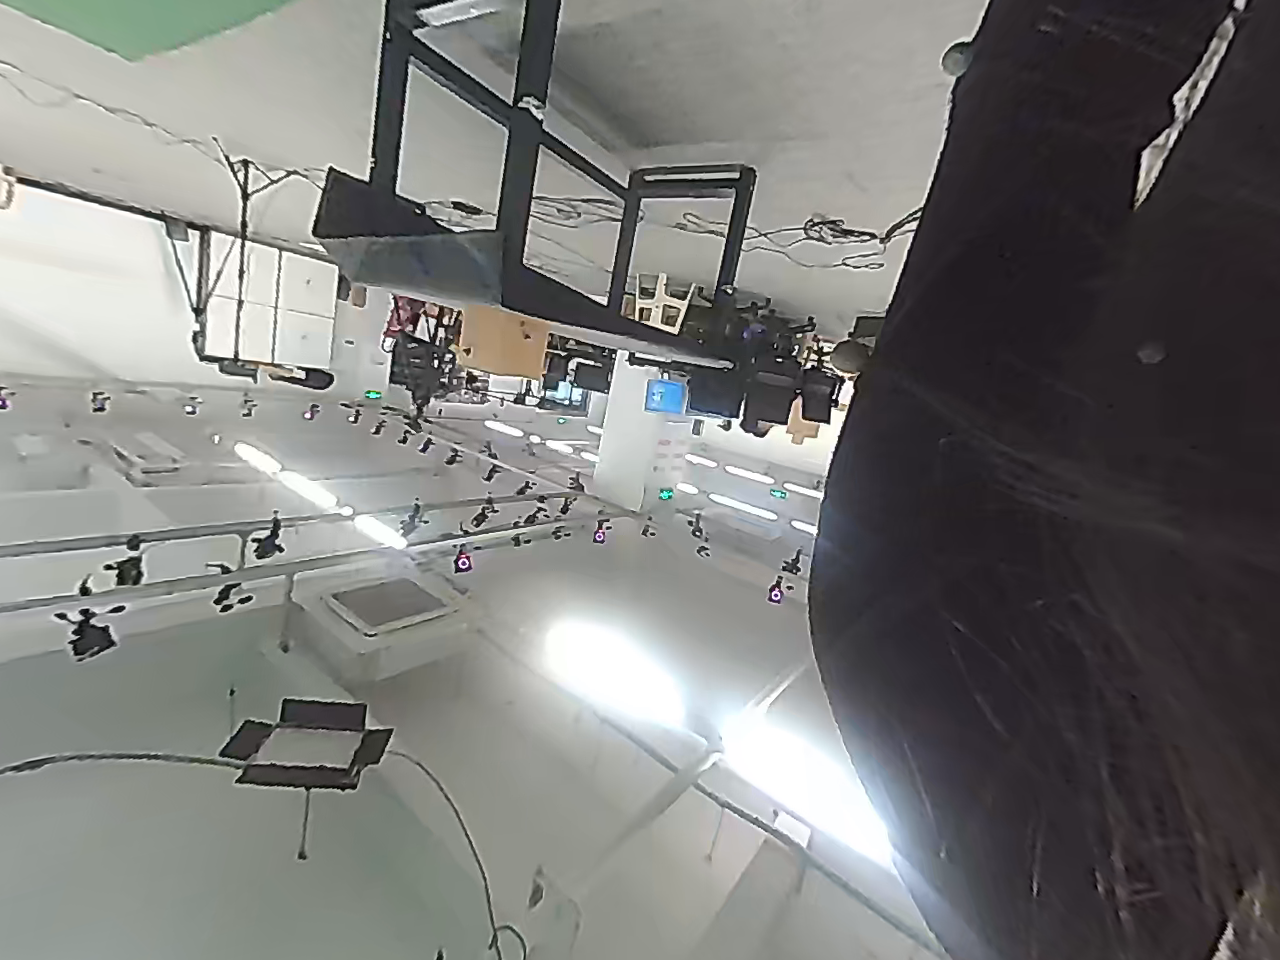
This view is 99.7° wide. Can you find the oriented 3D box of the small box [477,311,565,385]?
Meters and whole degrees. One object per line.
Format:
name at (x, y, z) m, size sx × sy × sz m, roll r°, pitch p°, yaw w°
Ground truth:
small box at (-0.335, -0.378, 1.541) m, size 0.179 × 0.176 × 0.168 m, roll 20°, pitch -165°, yaw 34°
